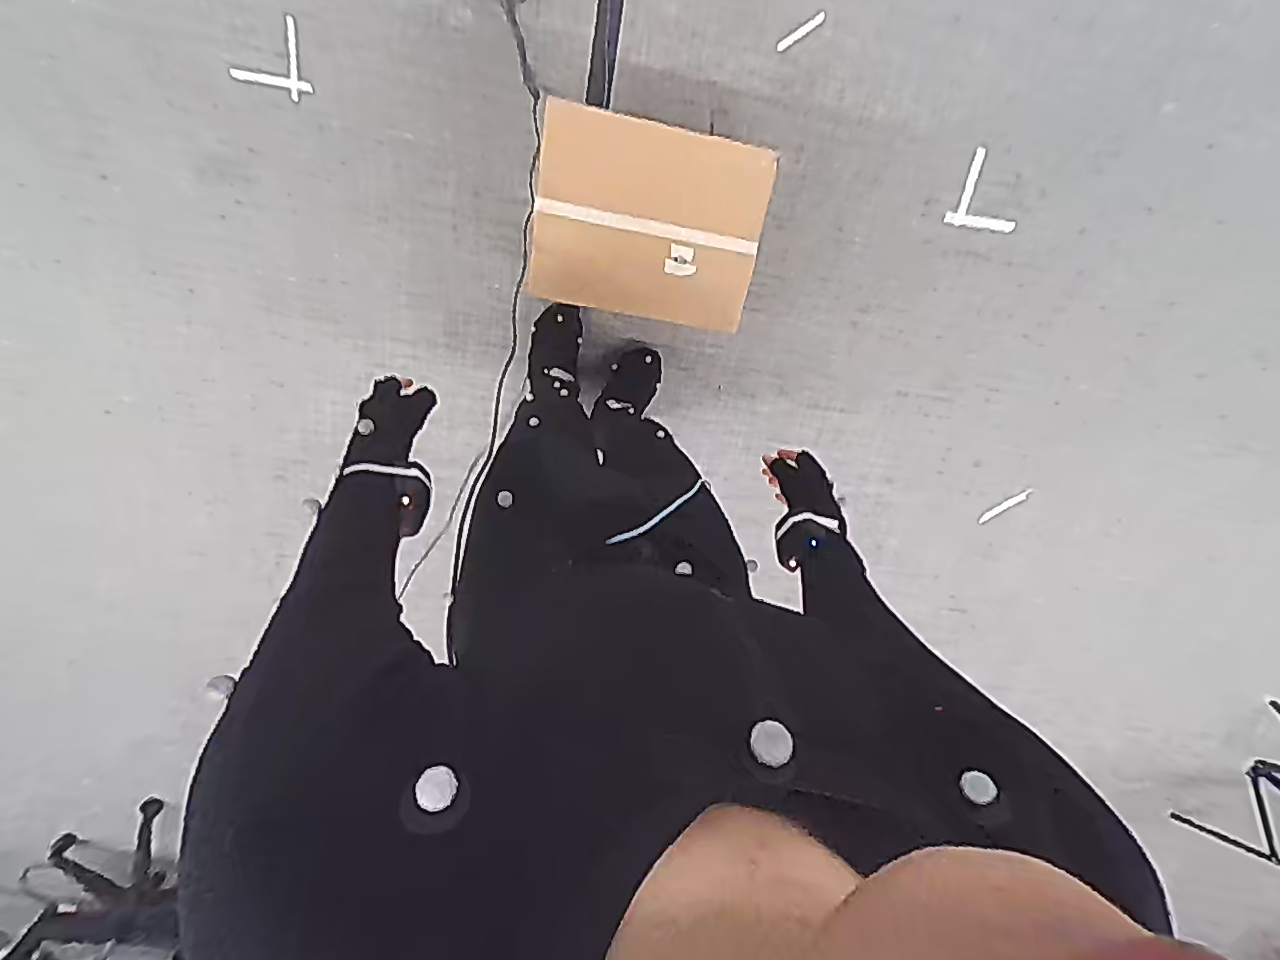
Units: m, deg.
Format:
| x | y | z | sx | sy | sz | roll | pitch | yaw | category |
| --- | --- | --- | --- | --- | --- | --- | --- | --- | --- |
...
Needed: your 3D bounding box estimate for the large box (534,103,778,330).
| x | y | z | sx | sy | sz | roll | pitch | yaw | category |
| --- | --- | --- | --- | --- | --- | --- | --- | --- | --- |
| 0.007 | -0.516 | 1.109 | 0.408 | 0.320 | 0.320 | 9 | 113 | -10 | large box |
